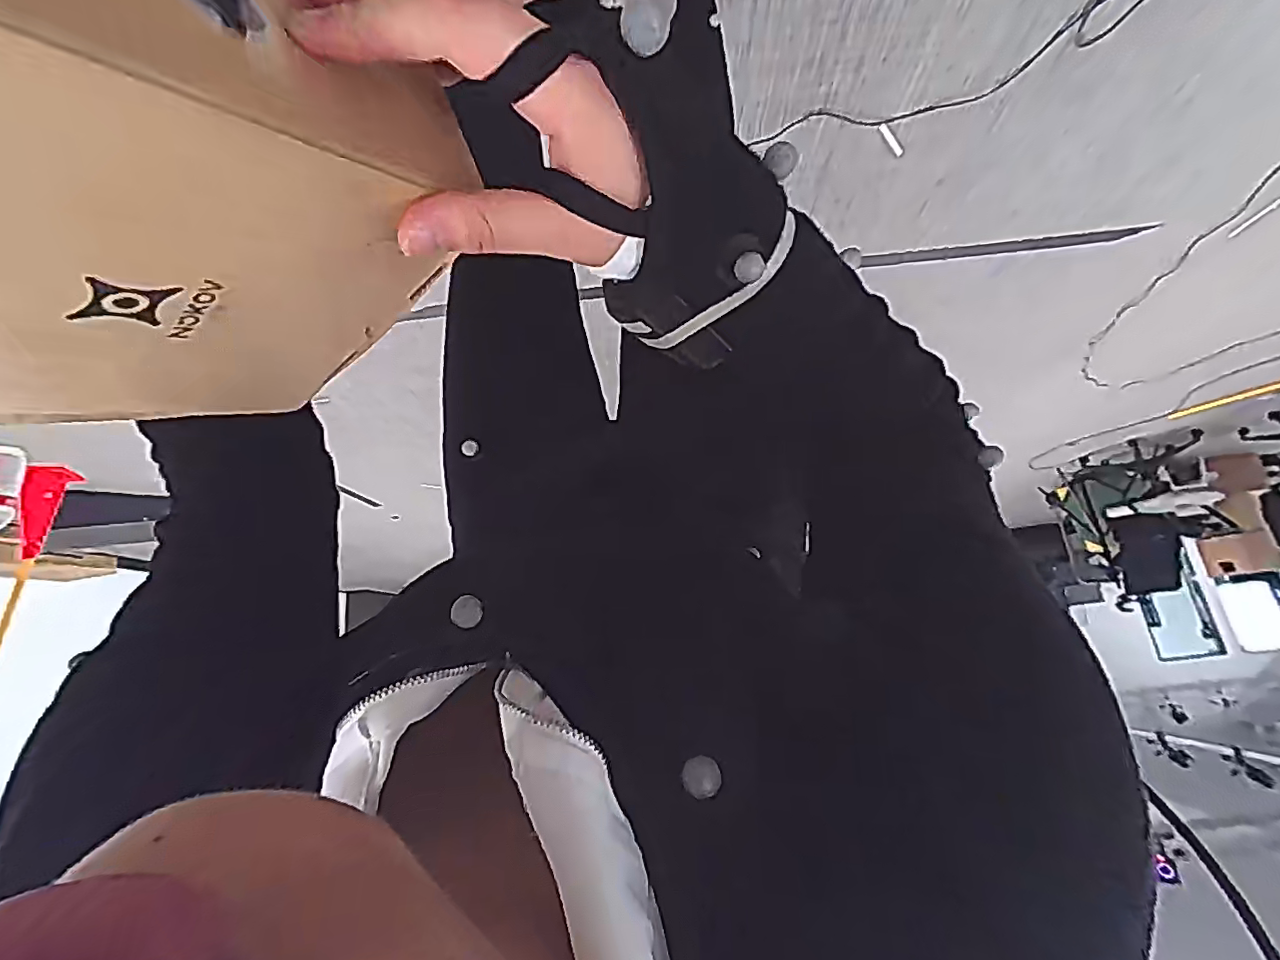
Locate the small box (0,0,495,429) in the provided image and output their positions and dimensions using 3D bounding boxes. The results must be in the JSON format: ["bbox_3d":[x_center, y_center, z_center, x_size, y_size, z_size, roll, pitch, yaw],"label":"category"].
[{"bbox_3d":[-0.186,-0.127,0.170,0.168,0.176,0.179,-26,174,30],"label":"small box"}]
